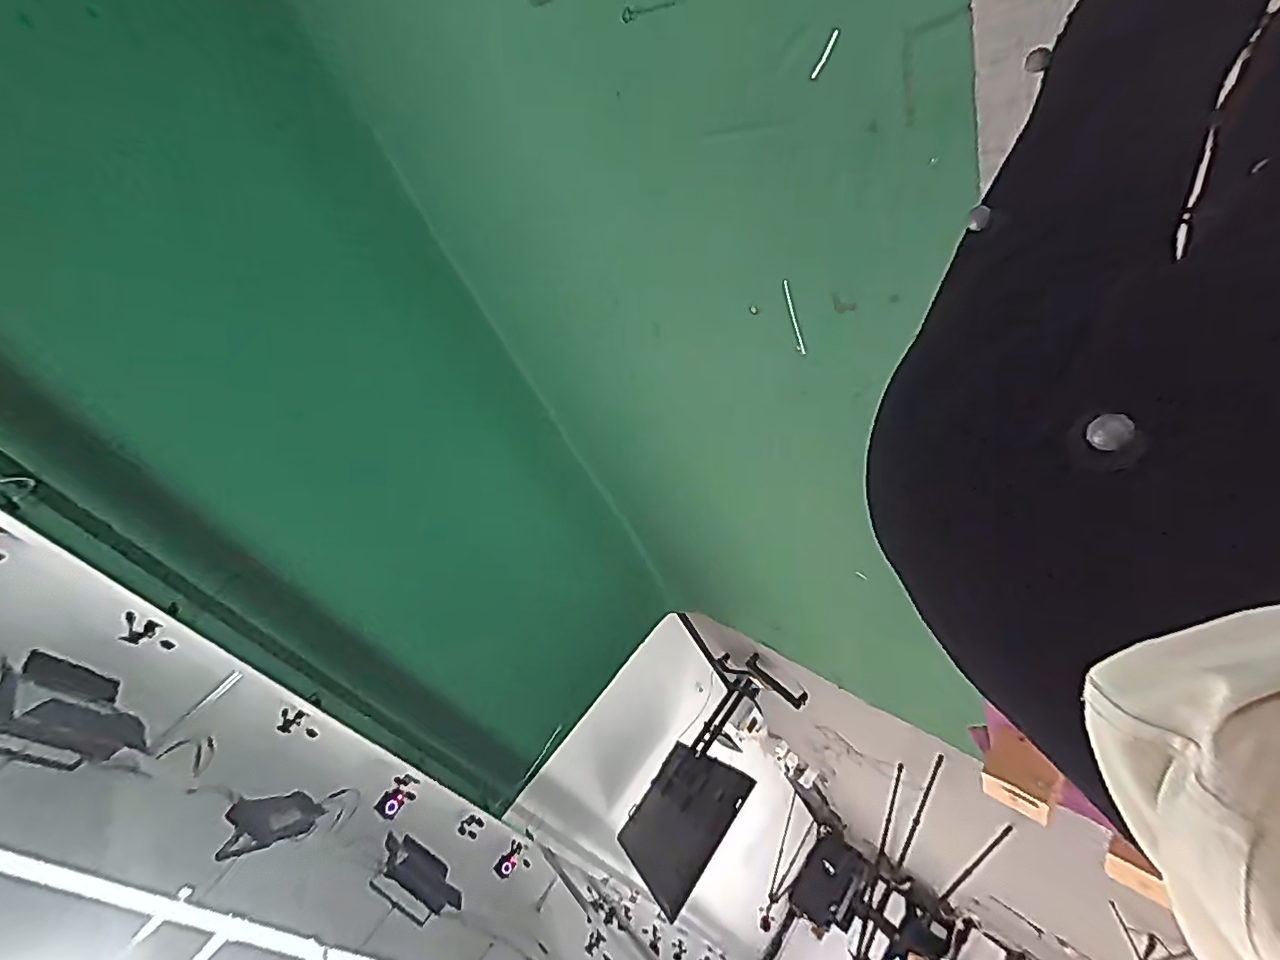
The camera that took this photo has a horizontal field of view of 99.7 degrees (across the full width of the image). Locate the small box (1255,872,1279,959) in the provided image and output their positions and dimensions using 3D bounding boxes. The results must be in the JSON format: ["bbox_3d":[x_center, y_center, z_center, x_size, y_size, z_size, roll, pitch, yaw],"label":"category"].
[{"bbox_3d":[1.576,1.055,1.251,0.168,0.176,0.179,16,146,48],"label":"small box"}]

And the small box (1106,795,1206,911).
[{"bbox_3d":[1.390,1.000,1.460,0.168,0.176,0.179,14,143,48],"label":"small box"}]
